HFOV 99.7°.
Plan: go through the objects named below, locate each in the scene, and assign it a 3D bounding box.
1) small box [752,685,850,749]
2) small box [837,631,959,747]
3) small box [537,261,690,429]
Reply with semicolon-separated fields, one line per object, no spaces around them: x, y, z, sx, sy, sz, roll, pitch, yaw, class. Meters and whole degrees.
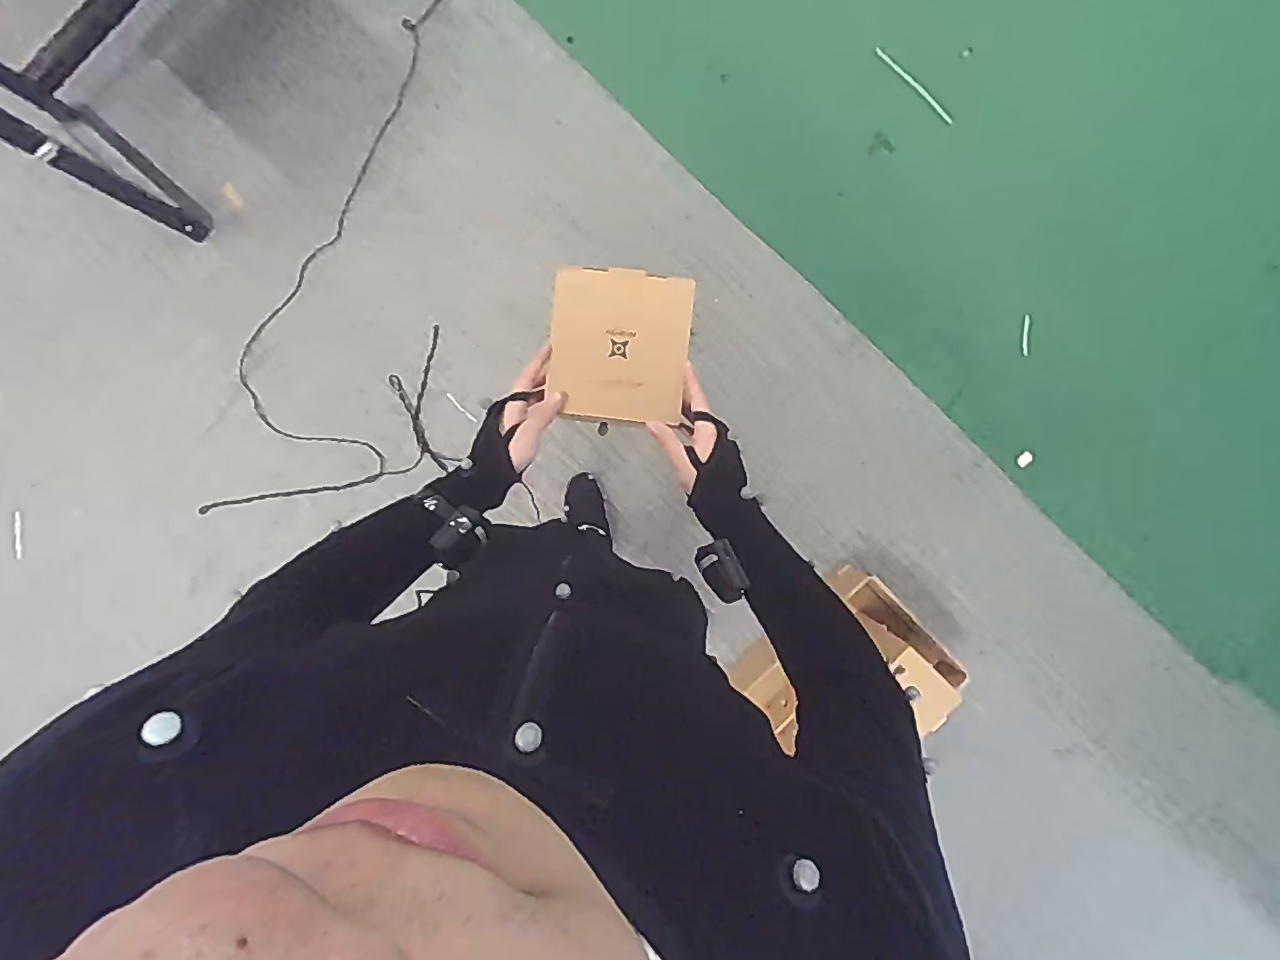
0.436;0.698;1.502;0.168;0.176;0.179;-43;90;0;small box
0.624;0.504;1.332;0.168;0.176;0.179;-45;90;0;small box
-0.032;-0.166;0.716;0.168;0.176;0.179;7;93;0;small box
